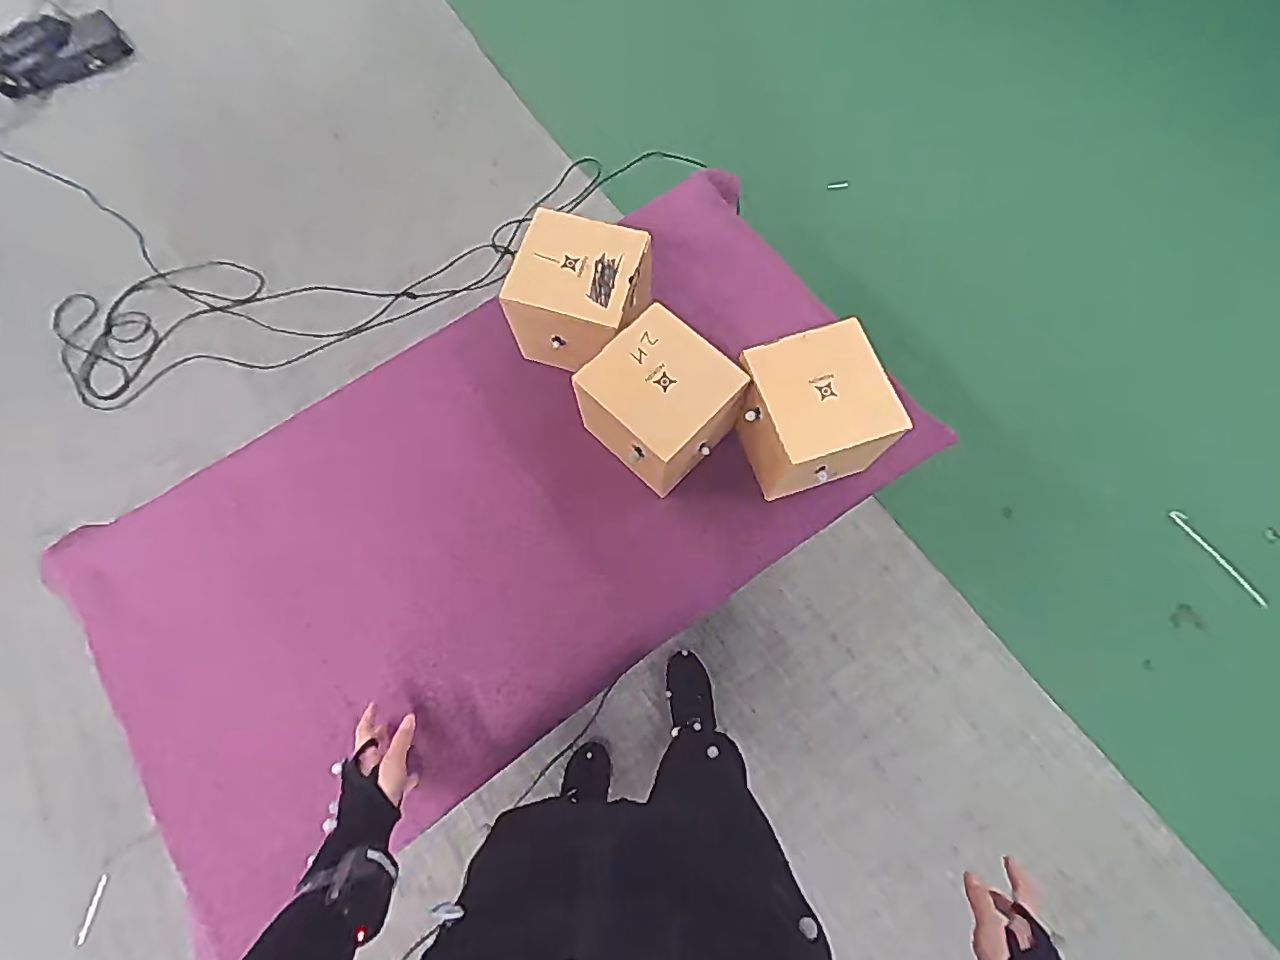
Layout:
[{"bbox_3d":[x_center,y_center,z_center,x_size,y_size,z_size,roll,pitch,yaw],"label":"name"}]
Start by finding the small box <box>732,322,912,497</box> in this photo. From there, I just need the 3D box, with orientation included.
[{"bbox_3d":[0.242,-0.087,0.769,0.168,0.176,0.179,-17,71,-4],"label":"small box"}]
